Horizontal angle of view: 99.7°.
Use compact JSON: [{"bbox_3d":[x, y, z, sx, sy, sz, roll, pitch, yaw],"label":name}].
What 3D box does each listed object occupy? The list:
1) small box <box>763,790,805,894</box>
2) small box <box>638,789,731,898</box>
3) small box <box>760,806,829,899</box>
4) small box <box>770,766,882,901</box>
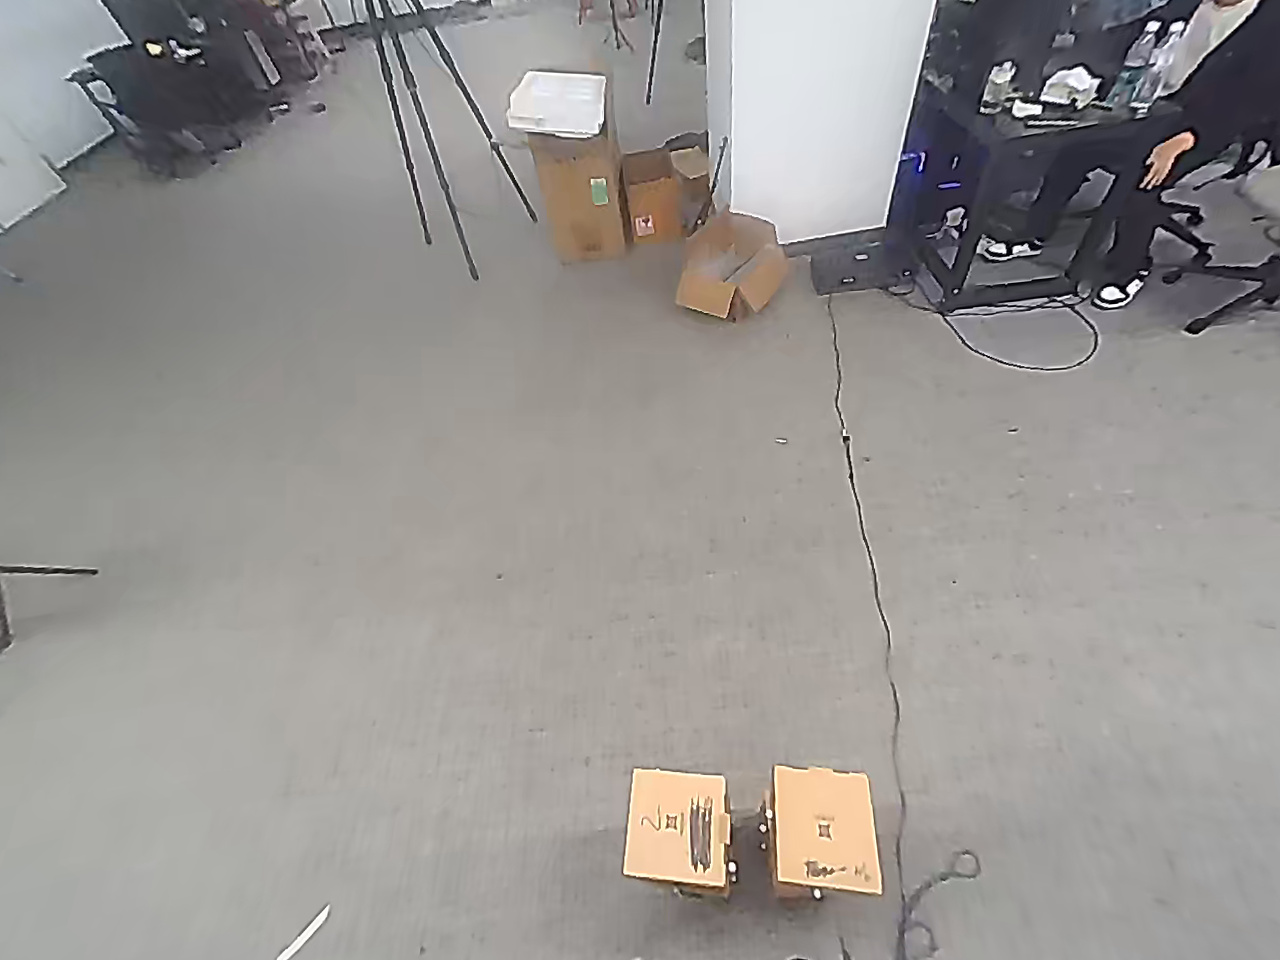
[{"bbox_3d":[0.352,0.748,1.116,0.179,0.176,0.168,-6,50,6],"label":"small box"},{"bbox_3d":[0.101,0.766,1.139,0.179,0.176,0.168,0,51,11],"label":"small box"},{"bbox_3d":[0.373,0.848,1.241,0.168,0.176,0.179,-6,51,5],"label":"small box"},{"bbox_3d":[0.327,0.646,0.988,0.168,0.176,0.179,0,50,11],"label":"small box"}]
